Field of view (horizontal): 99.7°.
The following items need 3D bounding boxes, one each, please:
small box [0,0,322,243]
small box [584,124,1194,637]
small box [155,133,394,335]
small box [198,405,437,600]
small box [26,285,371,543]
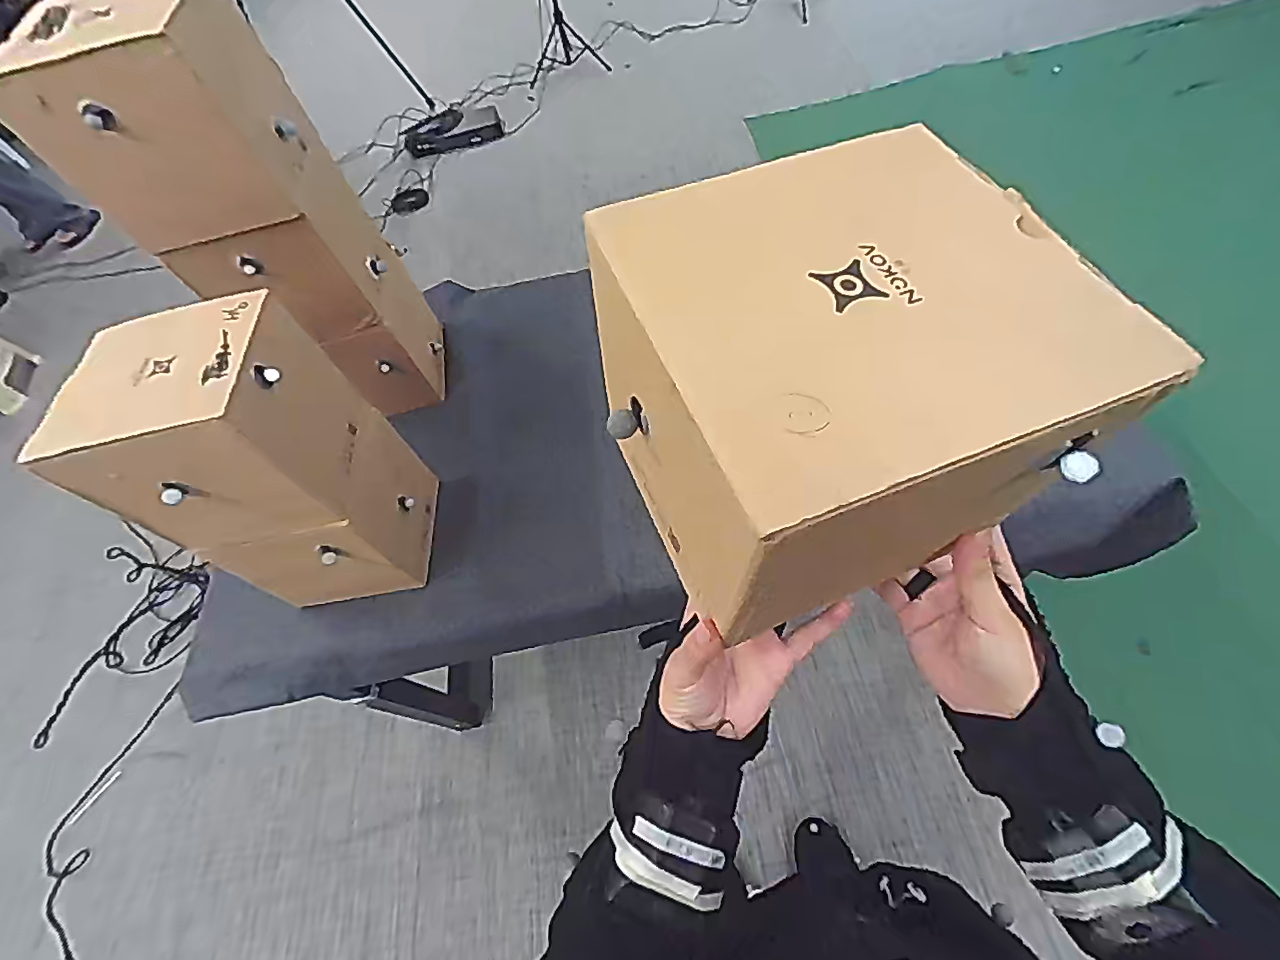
[{"bbox_3d":[-0.463,-0.368,0.542,0.179,0.176,0.168,-13,61,2],"label":"small box"},{"bbox_3d":[0.087,-0.038,0.280,0.179,0.176,0.168,-20,63,-9],"label":"small box"},{"bbox_3d":[-0.443,-0.296,0.689,0.179,0.176,0.168,-14,61,0],"label":"small box"},{"bbox_3d":[-0.373,0.034,0.668,0.179,0.176,0.168,-10,56,5],"label":"small box"},{"bbox_3d":[-0.403,-0.055,0.535,0.179,0.176,0.168,-13,57,3],"label":"small box"}]
